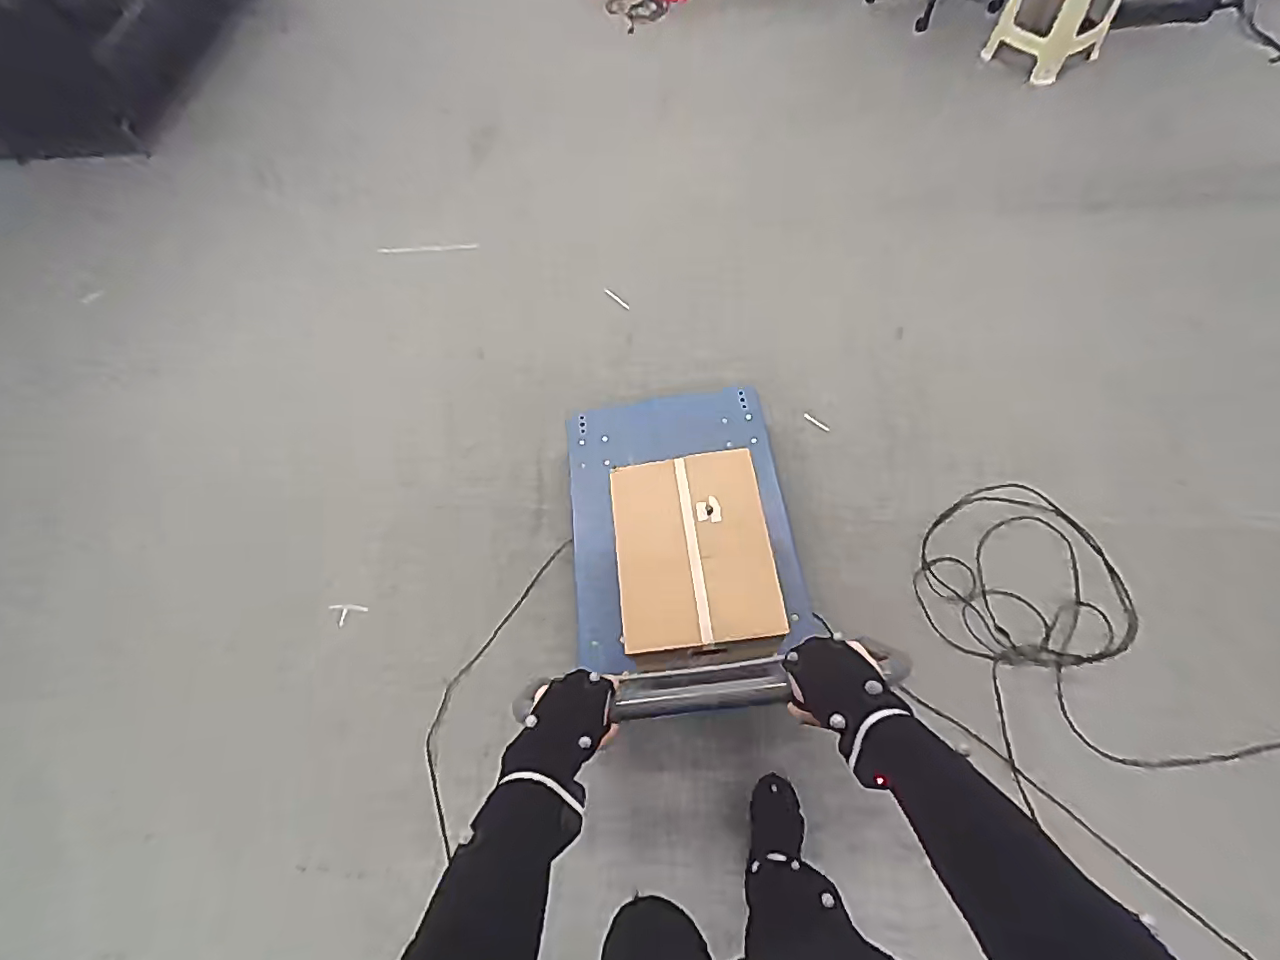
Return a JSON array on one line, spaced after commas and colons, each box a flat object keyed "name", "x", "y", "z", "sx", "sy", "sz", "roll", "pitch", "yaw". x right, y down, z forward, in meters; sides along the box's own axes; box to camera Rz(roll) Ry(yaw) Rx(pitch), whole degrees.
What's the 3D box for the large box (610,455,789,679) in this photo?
[{"name": "large box", "x": 0.126, "y": 0.209, "z": 1.239, "sx": 0.320, "sy": 0.320, "sz": 0.408, "roll": -8, "pitch": 62, "yaw": 3}]
